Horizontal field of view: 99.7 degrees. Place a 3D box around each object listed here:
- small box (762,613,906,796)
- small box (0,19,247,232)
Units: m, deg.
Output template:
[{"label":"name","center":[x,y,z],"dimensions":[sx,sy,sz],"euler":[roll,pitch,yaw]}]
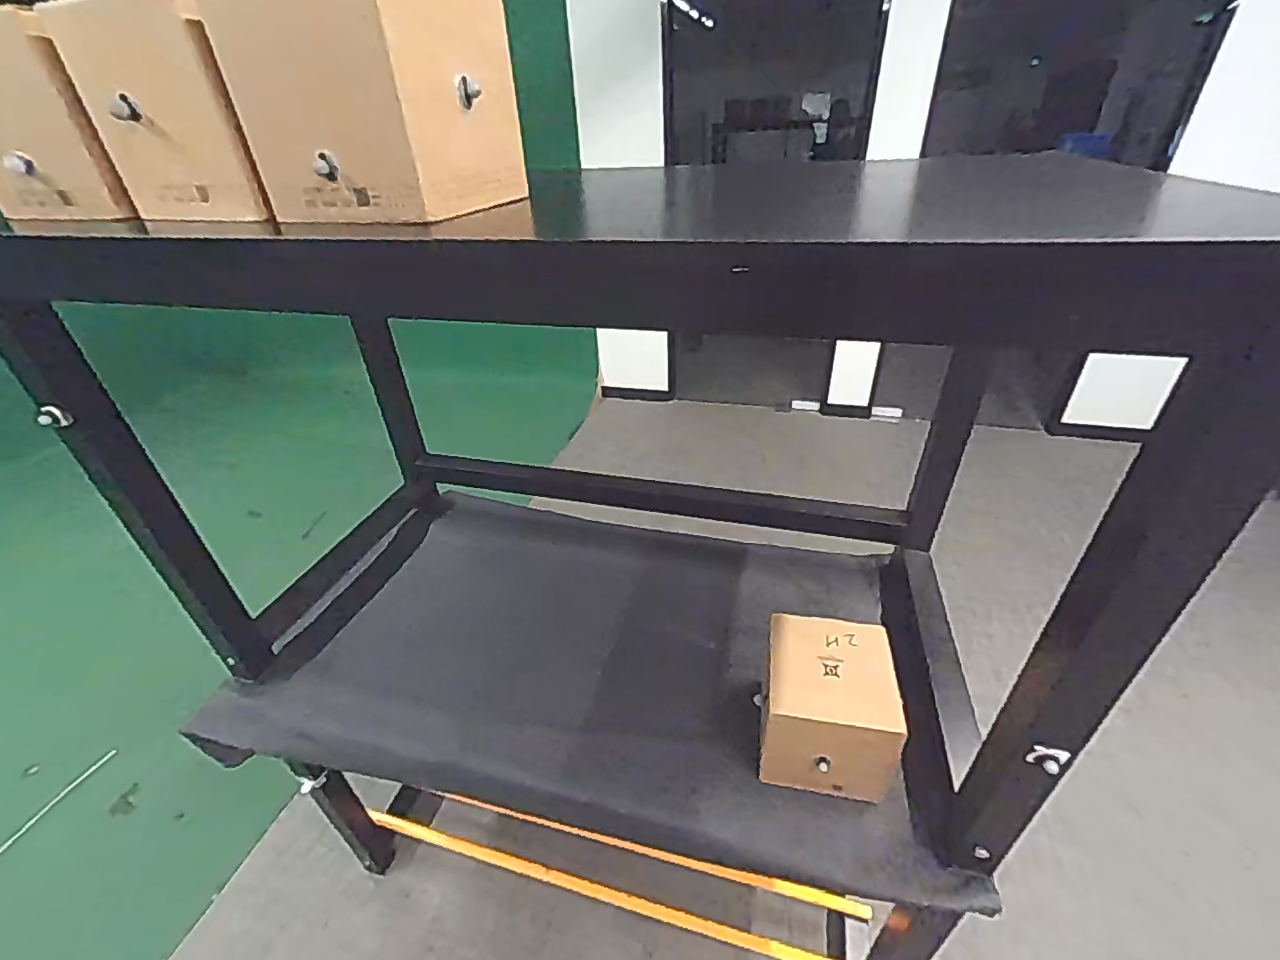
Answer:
[{"label":"small box","center":[0.269,0.323,0.786],"dimensions":[0.168,0.176,0.179],"euler":[5,34,11]},{"label":"small box","center":[-0.576,-0.379,0.588],"dimensions":[0.168,0.176,0.179],"euler":[7,36,13]}]
